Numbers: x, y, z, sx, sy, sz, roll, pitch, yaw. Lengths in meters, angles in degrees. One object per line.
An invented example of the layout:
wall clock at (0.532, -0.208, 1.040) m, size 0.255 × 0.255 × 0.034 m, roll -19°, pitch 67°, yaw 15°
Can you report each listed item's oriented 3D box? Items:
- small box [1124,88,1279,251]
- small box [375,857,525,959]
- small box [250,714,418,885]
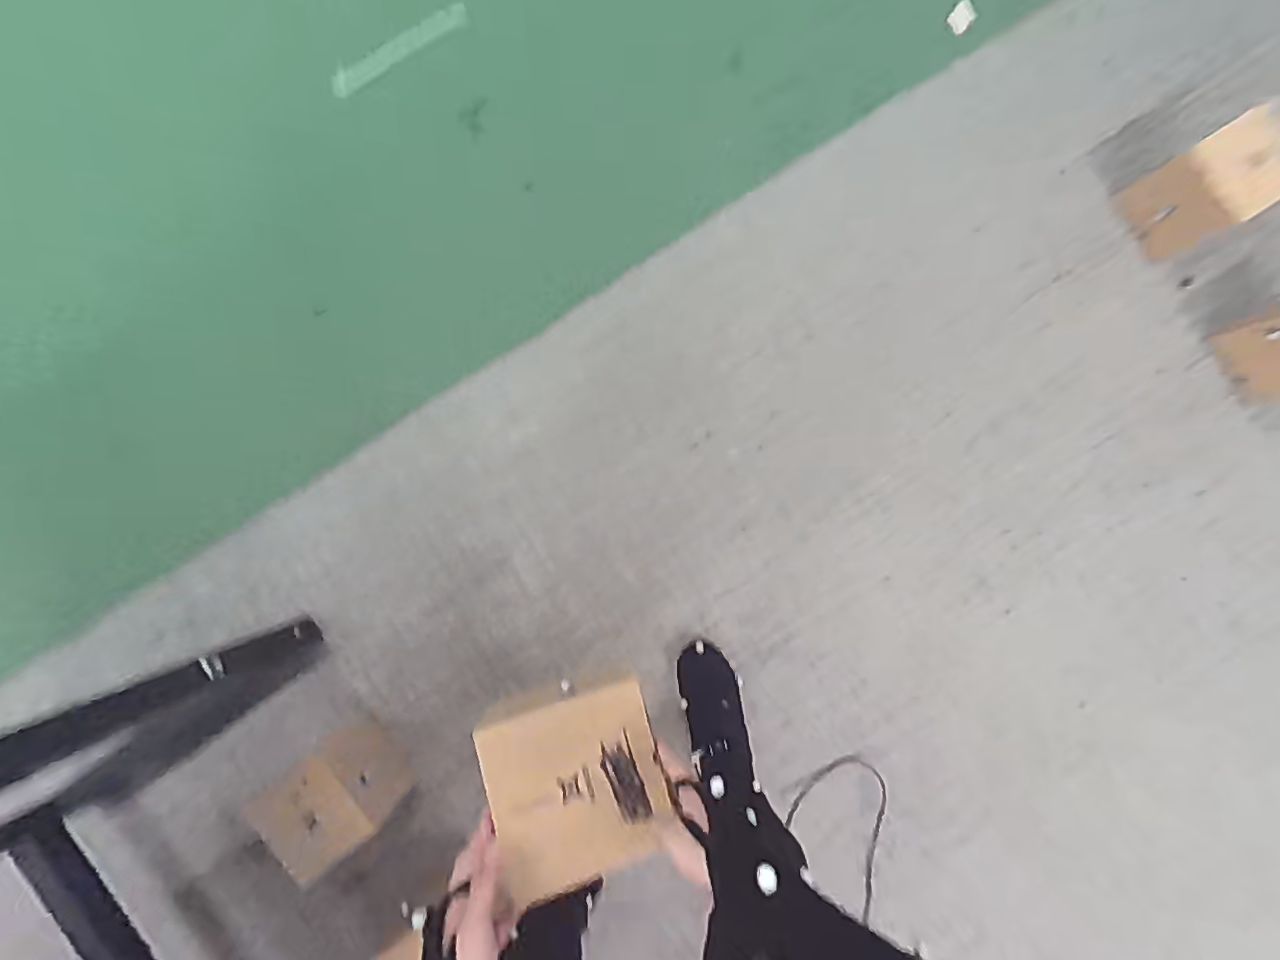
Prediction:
small box at (1.084, -0.575, 1.027) m, size 0.179 × 0.176 × 0.168 m, roll -32°, pitch 88°, yaw -1°
small box at (-0.337, 0.843, 0.992) m, size 0.168 × 0.176 × 0.179 m, roll -34°, pitch 89°, yaw 0°
small box at (-0.550, 0.575, 1.000) m, size 0.168 × 0.176 × 0.179 m, roll -38°, pitch 88°, yaw -1°
